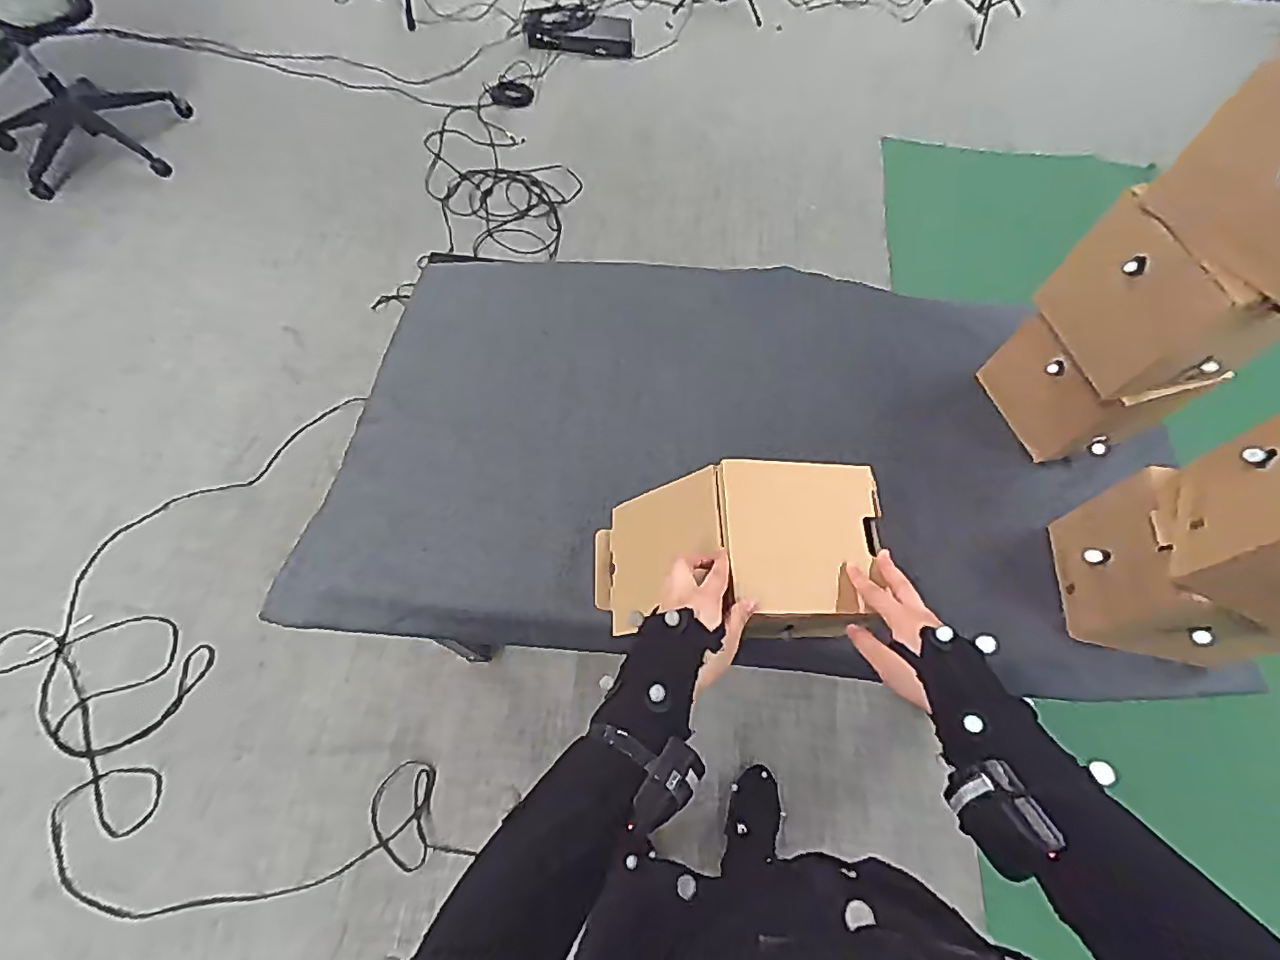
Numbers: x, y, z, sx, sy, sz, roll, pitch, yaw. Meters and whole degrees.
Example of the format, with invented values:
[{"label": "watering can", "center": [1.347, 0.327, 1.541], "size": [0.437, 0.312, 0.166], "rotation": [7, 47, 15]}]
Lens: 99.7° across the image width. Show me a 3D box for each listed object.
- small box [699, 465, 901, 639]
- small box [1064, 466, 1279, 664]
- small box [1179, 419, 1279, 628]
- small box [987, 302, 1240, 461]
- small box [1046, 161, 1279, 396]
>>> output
[{"label": "small box", "center": [0.169, 0.090, 0.632], "size": [0.179, 0.176, 0.168], "rotation": [0, 67, -1]}, {"label": "small box", "center": [0.646, 0.107, 0.640], "size": [0.179, 0.176, 0.168], "rotation": [11, 61, 4]}, {"label": "small box", "center": [0.654, 0.043, 0.489], "size": [0.179, 0.176, 0.168], "rotation": [31, 64, 13]}, {"label": "small box", "center": [0.648, -0.152, 0.771], "size": [0.168, 0.176, 0.179], "rotation": [-15, 67, -6]}, {"label": "small box", "center": [0.628, -0.225, 0.623], "size": [0.168, 0.176, 0.179], "rotation": [-12, 65, -4]}]
